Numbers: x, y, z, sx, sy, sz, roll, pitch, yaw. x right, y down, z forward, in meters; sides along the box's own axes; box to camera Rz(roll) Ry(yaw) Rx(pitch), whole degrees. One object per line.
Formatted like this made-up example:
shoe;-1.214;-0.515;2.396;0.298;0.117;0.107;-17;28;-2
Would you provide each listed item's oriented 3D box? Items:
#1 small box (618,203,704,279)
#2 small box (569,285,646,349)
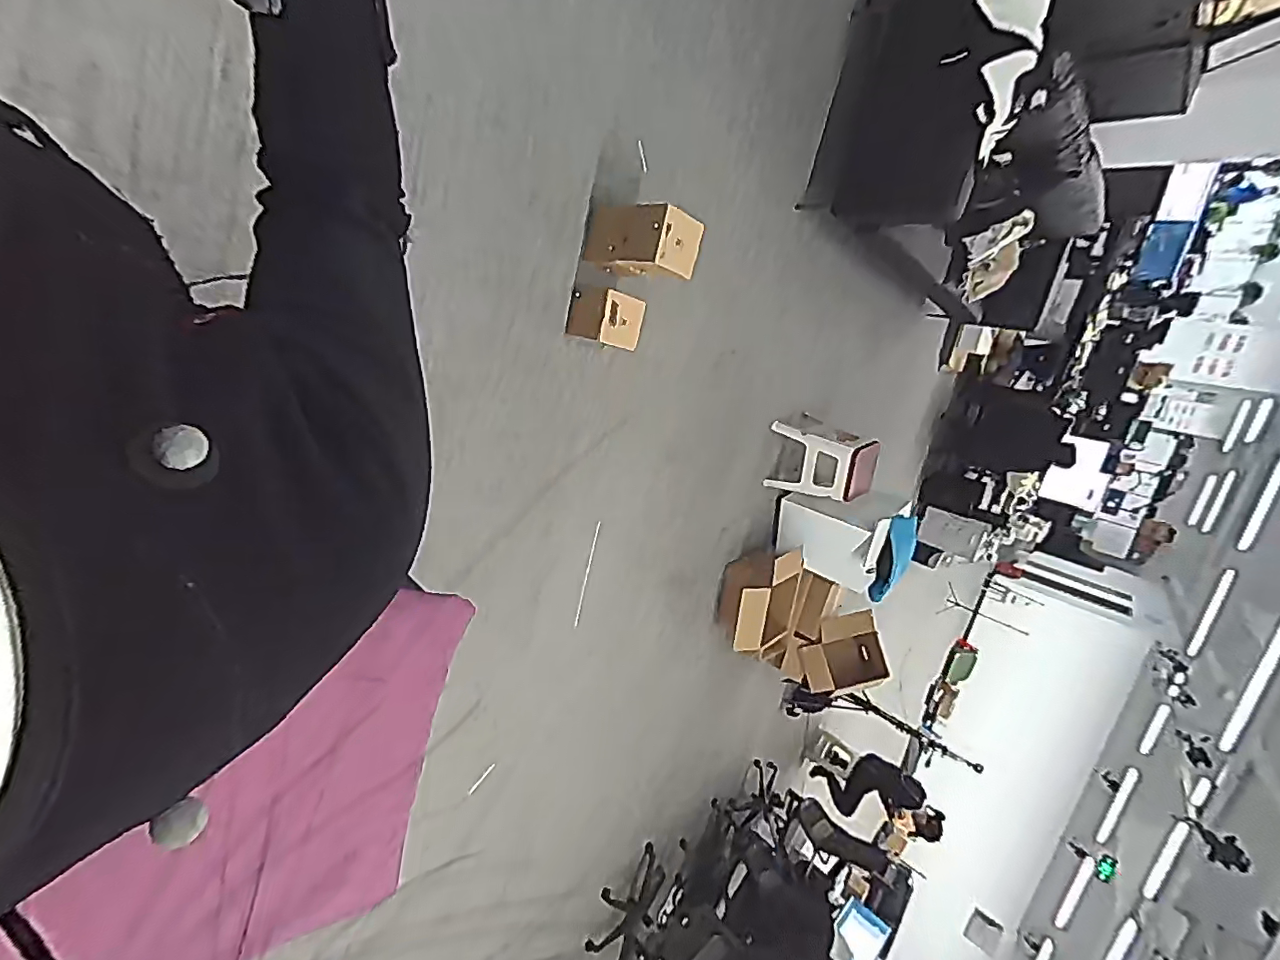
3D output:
small box;0.062;-0.730;1.651;0.179;0.176;0.168;2;106;-49
small box;-0.112;-0.545;1.801;0.179;0.176;0.168;0;108;-48
